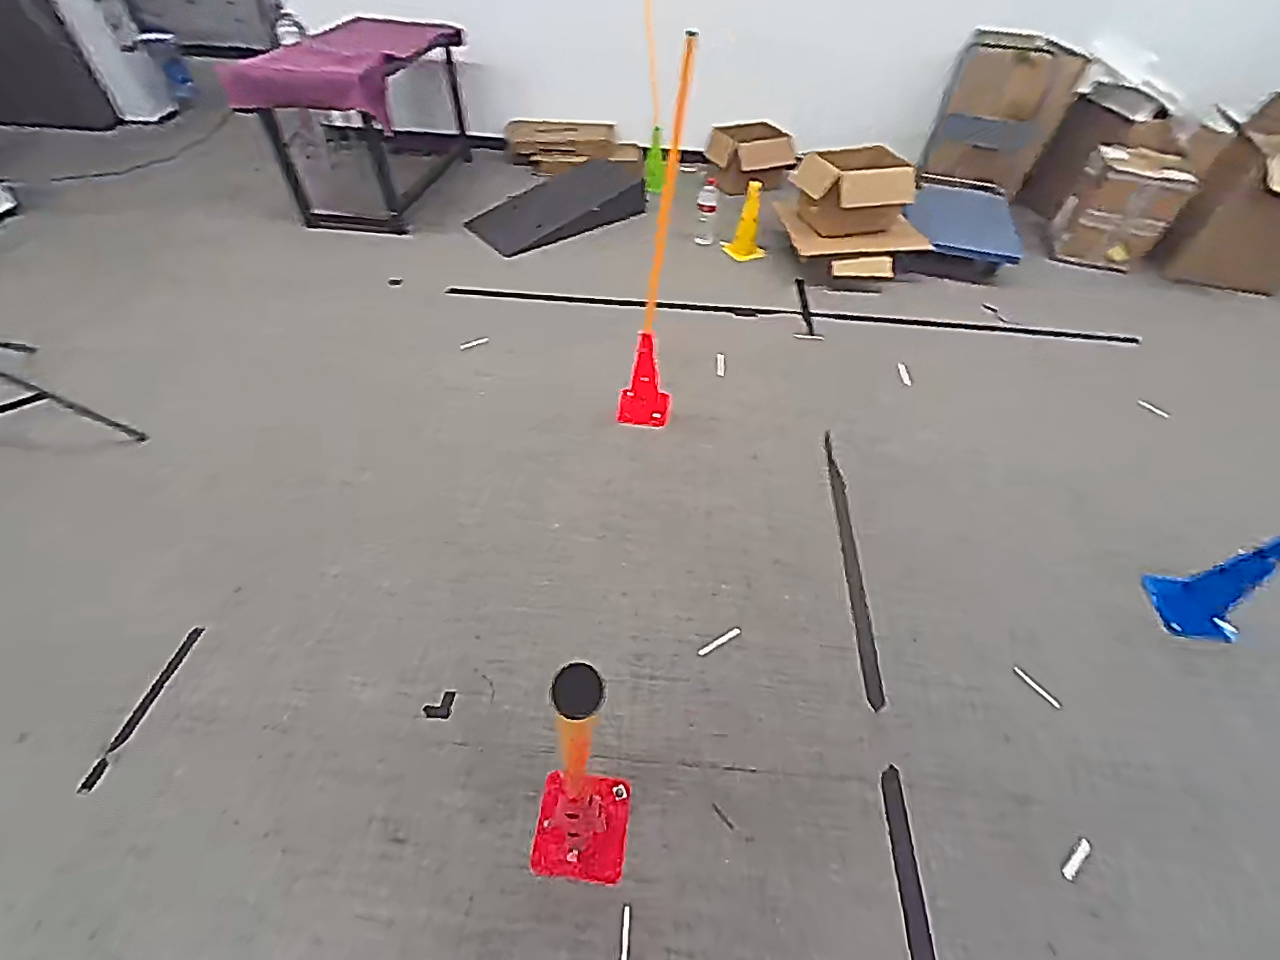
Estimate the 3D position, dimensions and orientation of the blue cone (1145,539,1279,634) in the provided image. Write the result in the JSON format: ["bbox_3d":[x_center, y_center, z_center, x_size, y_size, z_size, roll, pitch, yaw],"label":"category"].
[{"bbox_3d":[1.658,0.260,1.509,0.193,0.380,0.192,7,50,4],"label":"blue cone"}]

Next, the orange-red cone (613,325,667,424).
[{"bbox_3d":[0.007,-0.410,1.994,0.198,0.360,0.199,8,48,4],"label":"orange-red cone"}]
